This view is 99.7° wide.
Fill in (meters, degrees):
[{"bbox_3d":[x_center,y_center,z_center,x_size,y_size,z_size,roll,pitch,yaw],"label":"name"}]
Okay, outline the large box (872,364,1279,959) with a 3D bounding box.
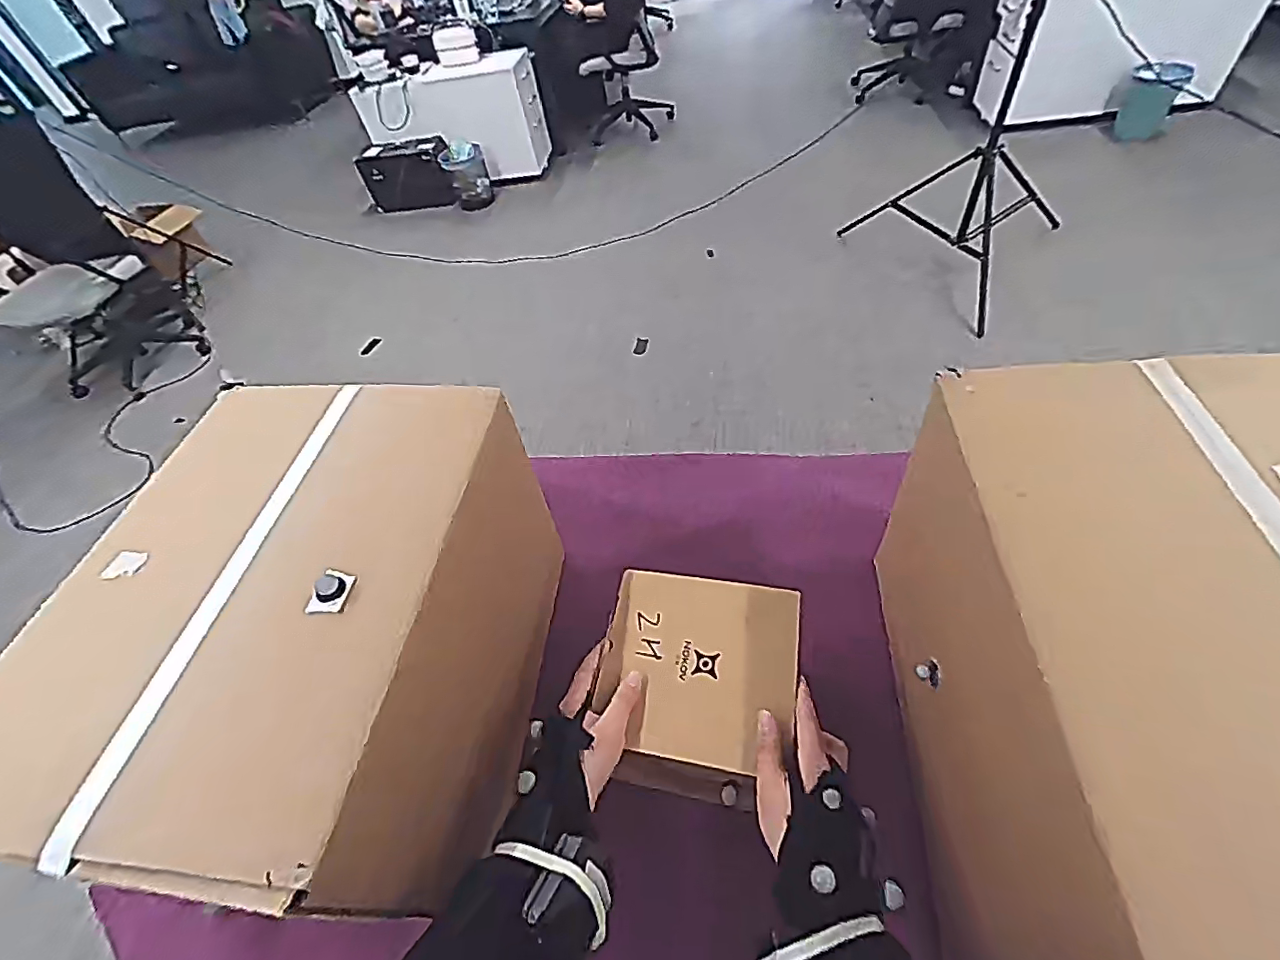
[{"bbox_3d":[0.402,0.162,0.431,0.320,0.320,0.408,-1,49,10],"label":"large box"}]
